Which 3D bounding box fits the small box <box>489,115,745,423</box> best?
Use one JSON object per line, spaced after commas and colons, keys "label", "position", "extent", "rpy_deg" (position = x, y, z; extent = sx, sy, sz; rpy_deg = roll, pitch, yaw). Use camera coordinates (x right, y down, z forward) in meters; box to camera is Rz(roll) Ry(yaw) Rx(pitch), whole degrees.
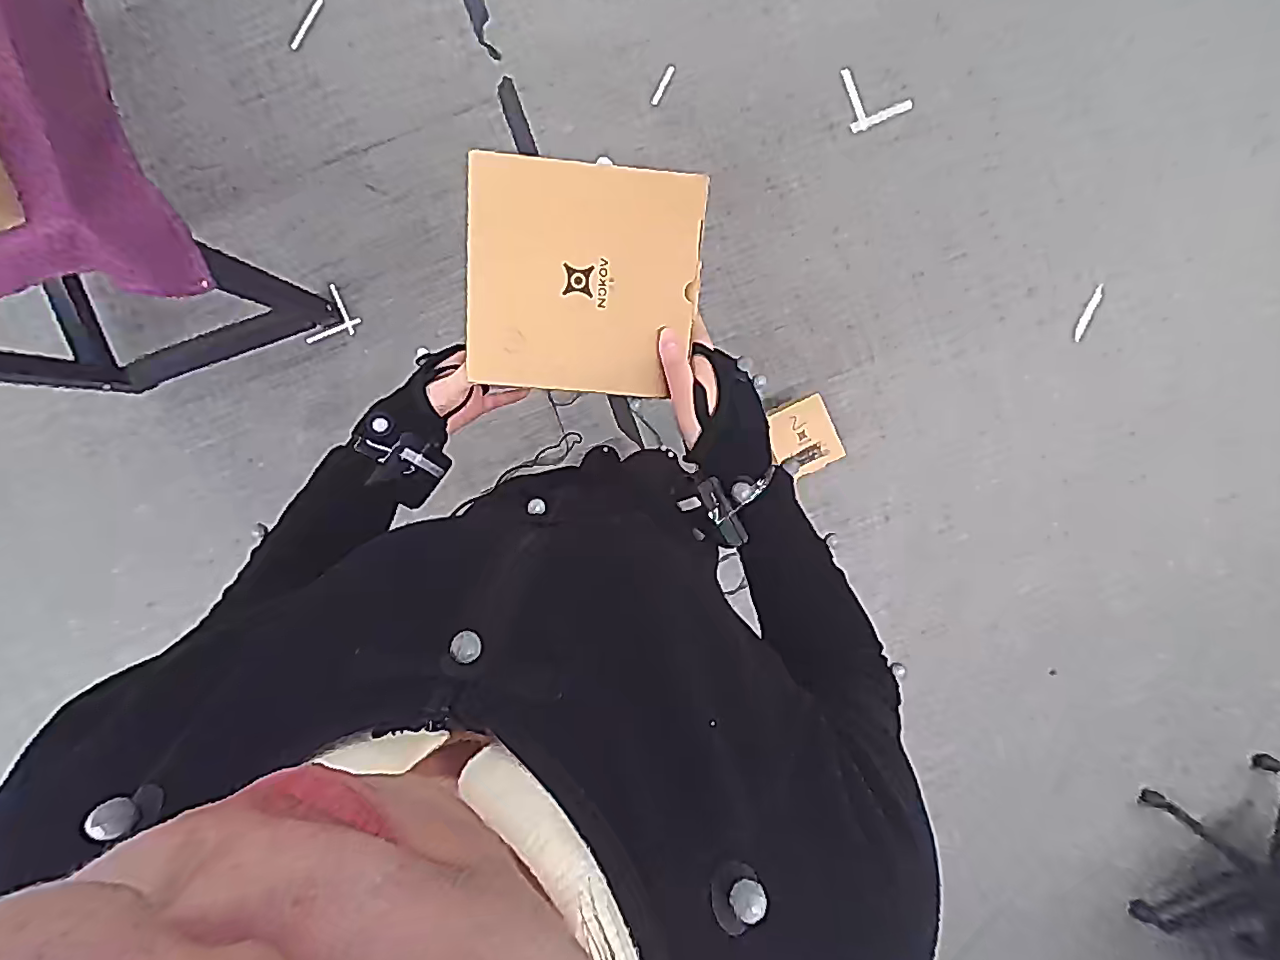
{"label": "small box", "position": [-0.029, -0.150, 0.448], "extent": [0.168, 0.176, 0.179], "rpy_deg": [-2, 85, -22]}
